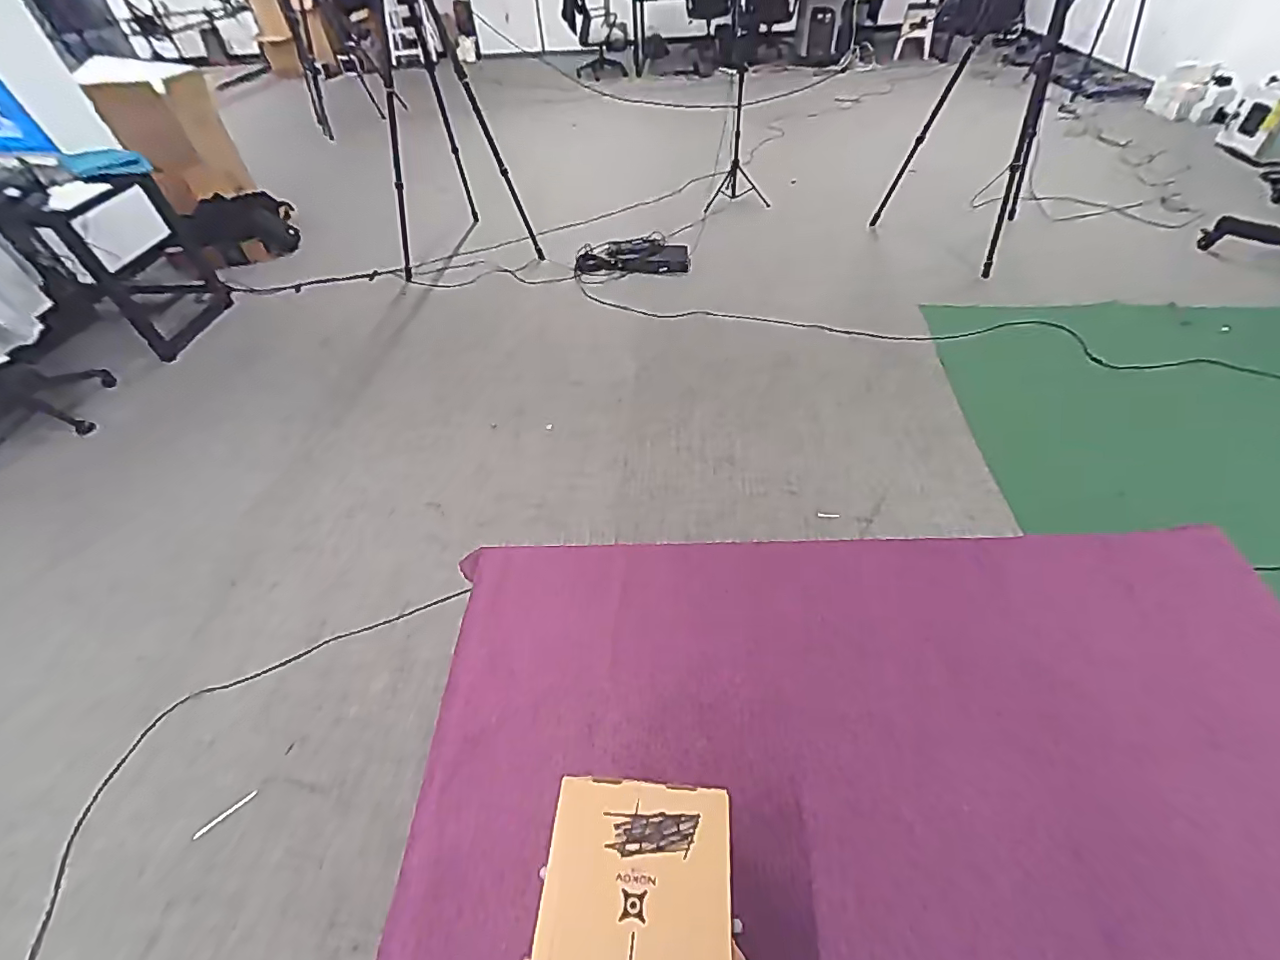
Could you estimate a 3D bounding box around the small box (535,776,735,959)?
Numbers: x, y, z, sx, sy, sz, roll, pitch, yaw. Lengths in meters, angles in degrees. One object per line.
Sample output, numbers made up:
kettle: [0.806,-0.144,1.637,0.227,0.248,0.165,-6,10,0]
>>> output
small box: [0.003,0.415,0.530,0.168,0.176,0.179,2,48,6]
